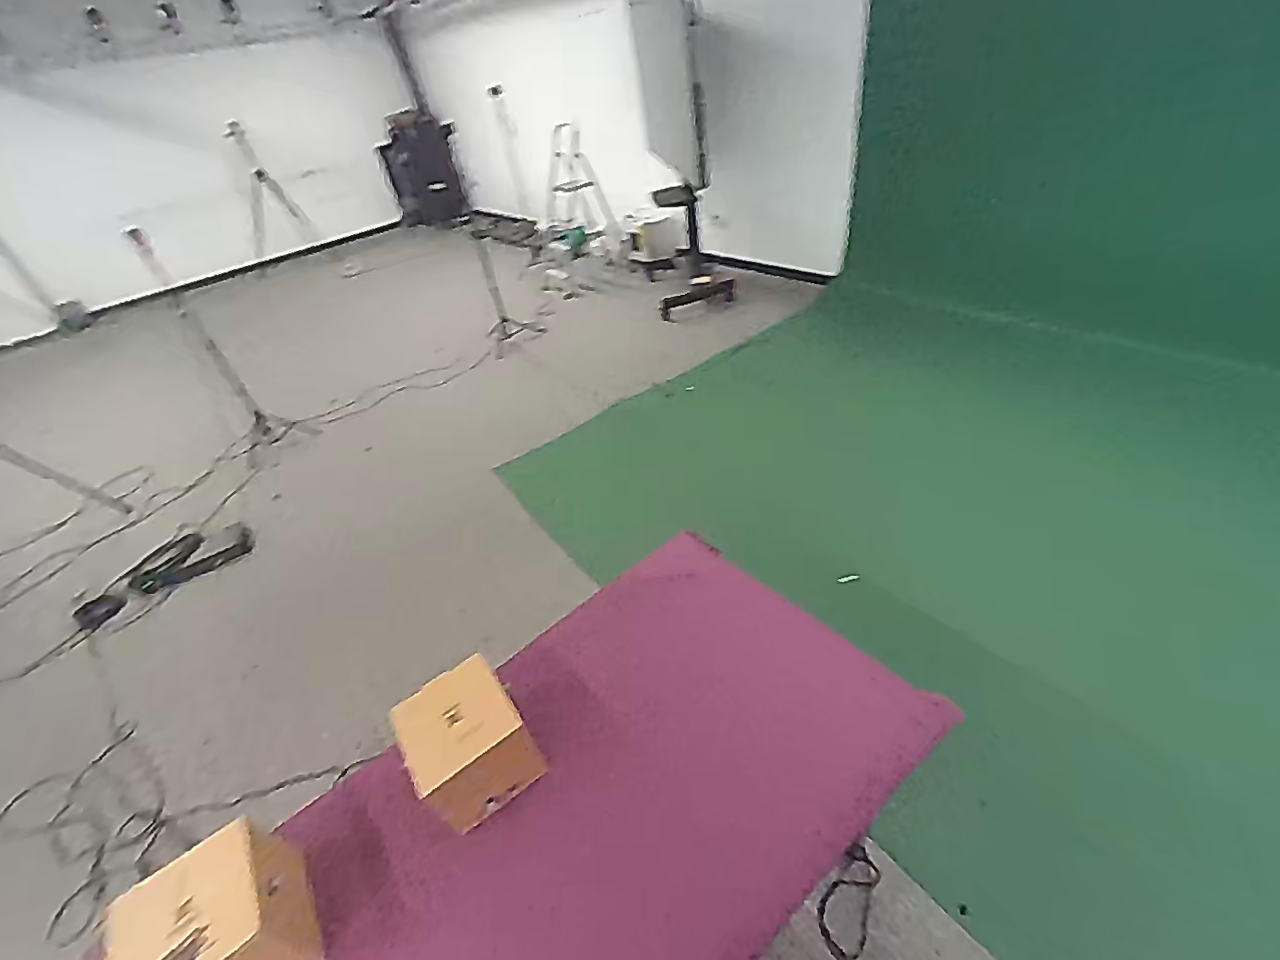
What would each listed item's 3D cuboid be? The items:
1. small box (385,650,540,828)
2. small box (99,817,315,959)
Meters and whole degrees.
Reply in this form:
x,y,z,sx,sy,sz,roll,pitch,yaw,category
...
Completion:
x,y,z,sx,sy,sz,roll,pitch,yaw,category
-0.291,0.430,0.901,0.168,0.176,0.179,-31,45,-23,small box
-0.575,0.614,0.733,0.168,0.176,0.179,-31,45,-25,small box
